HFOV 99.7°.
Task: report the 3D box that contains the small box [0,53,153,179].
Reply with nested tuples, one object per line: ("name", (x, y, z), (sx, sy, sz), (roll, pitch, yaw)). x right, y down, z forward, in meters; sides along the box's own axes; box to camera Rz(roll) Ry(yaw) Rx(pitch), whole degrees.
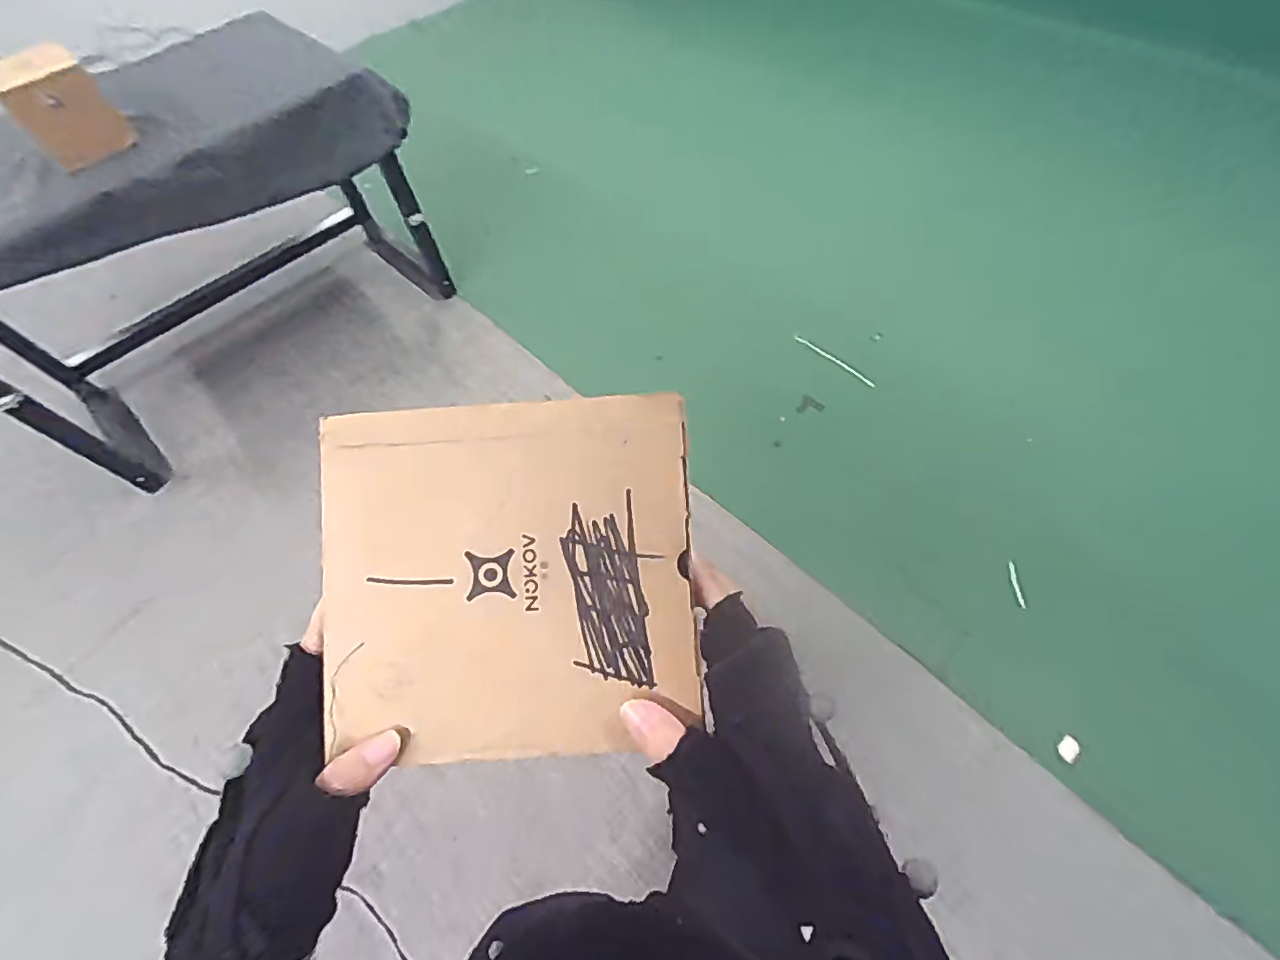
("small box", (-1.286, -0.826, 1.234), (0.168, 0.176, 0.179), (39, 68, 22))

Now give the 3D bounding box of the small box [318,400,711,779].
("small box", (-0.064, 0.054, 0.338), (0.179, 0.176, 0.168), (-7, 85, -2))
